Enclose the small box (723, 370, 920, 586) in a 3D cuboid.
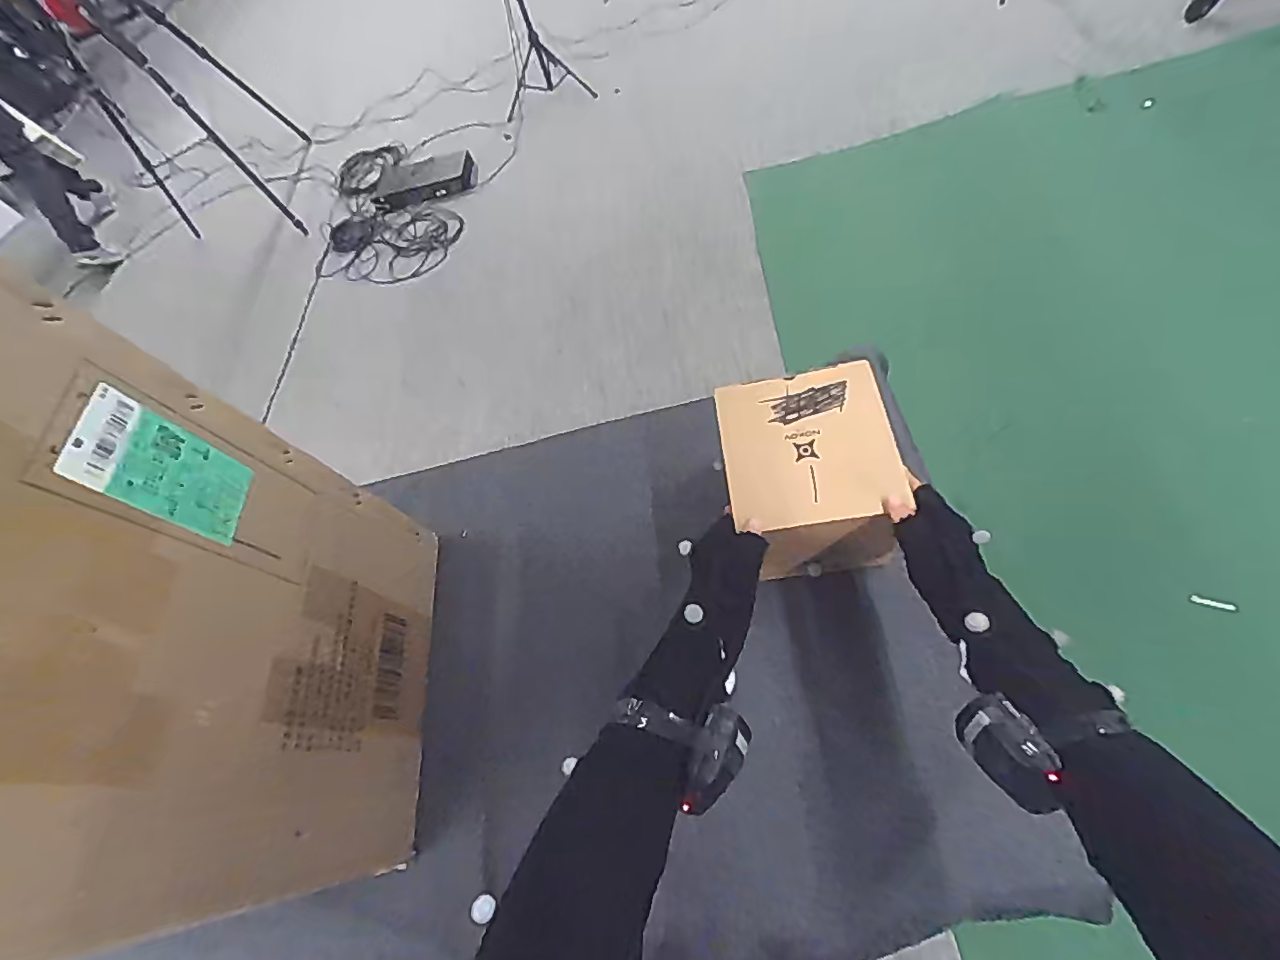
[{"bbox_3d":[0.192,0.006,0.617,0.168,0.176,0.179,-10,62,11],"label":"small box"}]
